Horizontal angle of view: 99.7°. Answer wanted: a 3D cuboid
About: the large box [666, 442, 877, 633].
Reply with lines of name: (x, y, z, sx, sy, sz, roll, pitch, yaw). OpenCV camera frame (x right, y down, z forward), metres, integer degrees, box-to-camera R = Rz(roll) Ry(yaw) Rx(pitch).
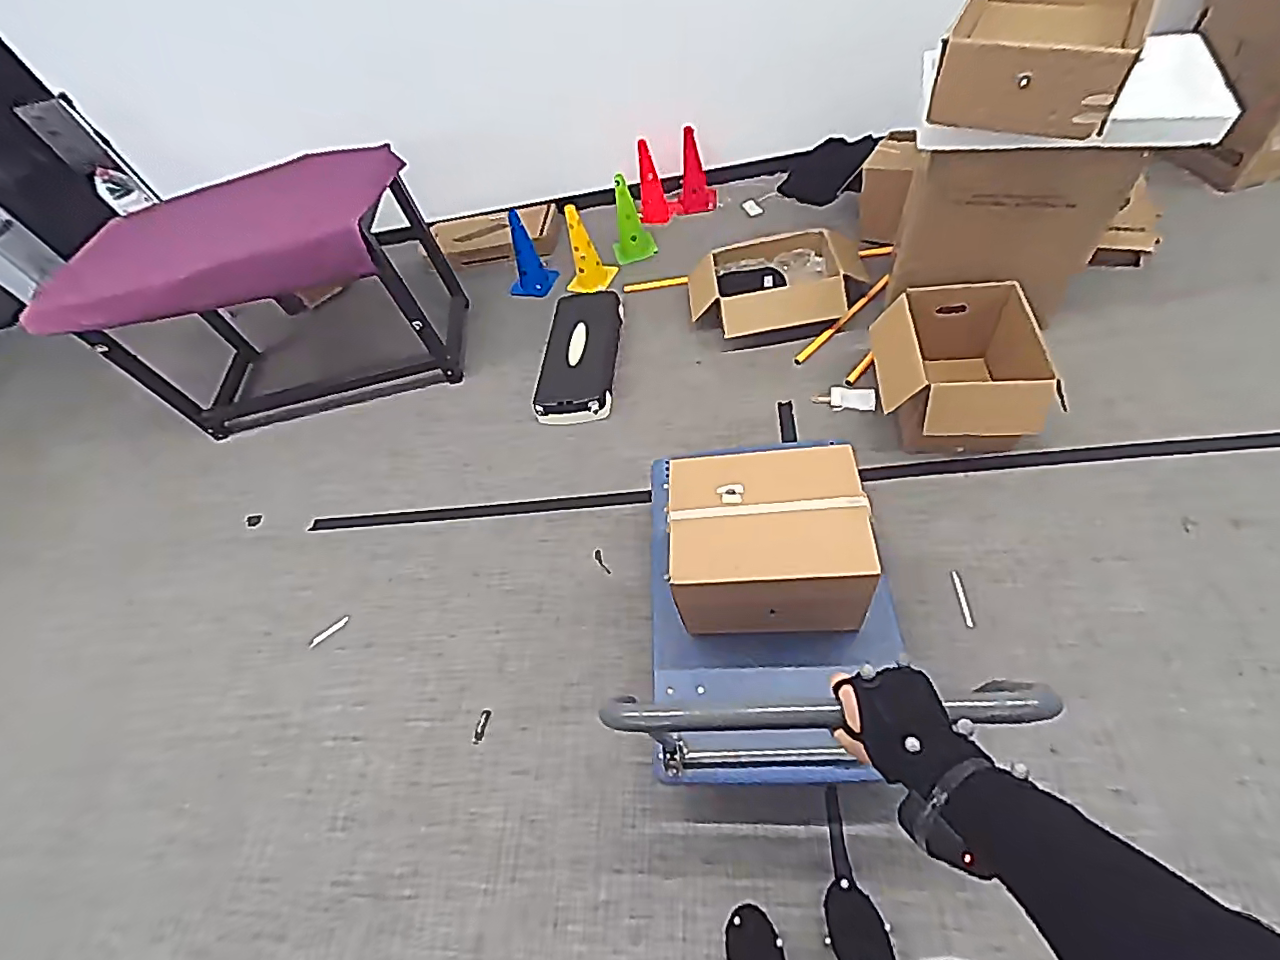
large box: (0.285, 0.147, 1.246, 0.408, 0.320, 0.320, -6, 53, 11)
